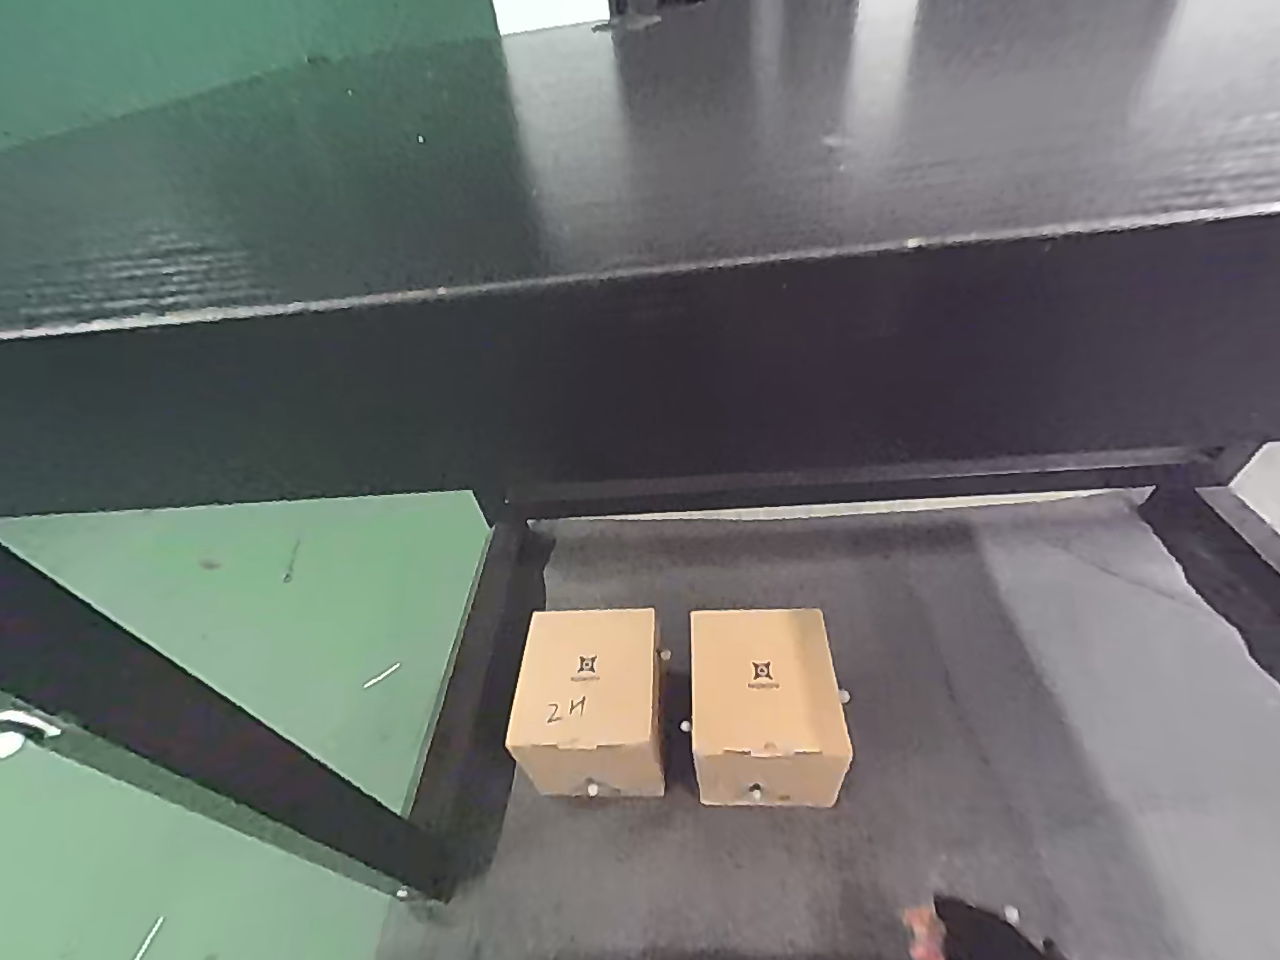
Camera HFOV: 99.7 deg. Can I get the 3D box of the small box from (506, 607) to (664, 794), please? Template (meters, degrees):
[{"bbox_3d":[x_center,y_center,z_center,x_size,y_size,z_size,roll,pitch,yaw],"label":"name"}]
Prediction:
[{"bbox_3d":[-0.057,0.287,0.711,0.168,0.176,0.179,-3,43,7],"label":"small box"}]

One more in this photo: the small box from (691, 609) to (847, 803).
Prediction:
[{"bbox_3d":[0.148,0.283,0.684,0.168,0.176,0.179,-3,44,7],"label":"small box"}]
